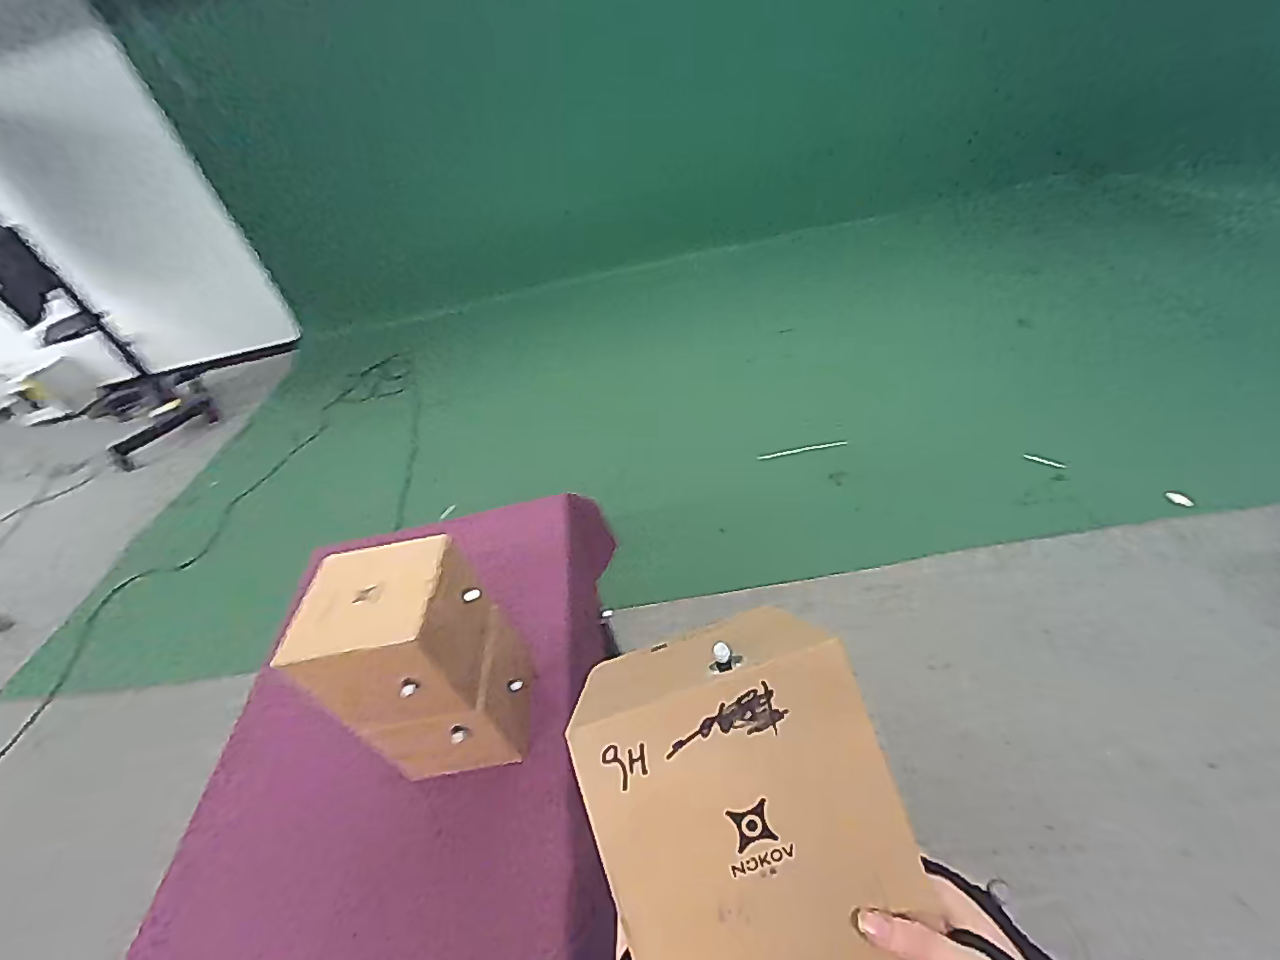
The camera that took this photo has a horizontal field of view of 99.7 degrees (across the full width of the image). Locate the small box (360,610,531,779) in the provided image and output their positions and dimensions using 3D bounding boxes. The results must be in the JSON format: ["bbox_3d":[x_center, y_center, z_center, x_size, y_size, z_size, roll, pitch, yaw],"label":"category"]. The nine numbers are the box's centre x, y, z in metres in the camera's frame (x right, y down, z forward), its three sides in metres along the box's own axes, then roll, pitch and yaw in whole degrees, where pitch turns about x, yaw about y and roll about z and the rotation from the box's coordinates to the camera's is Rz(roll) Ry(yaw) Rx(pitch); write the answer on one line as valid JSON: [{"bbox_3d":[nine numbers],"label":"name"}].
[{"bbox_3d":[-0.276,0.326,0.817,0.179,0.176,0.168,-13,39,5],"label":"small box"}]

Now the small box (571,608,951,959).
[{"bbox_3d":[0.066,0.204,0.375,0.168,0.176,0.179,-19,83,-1],"label":"small box"}]

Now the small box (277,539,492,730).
[{"bbox_3d":[-0.315,0.206,0.714,0.179,0.176,0.168,-12,40,6],"label":"small box"}]
